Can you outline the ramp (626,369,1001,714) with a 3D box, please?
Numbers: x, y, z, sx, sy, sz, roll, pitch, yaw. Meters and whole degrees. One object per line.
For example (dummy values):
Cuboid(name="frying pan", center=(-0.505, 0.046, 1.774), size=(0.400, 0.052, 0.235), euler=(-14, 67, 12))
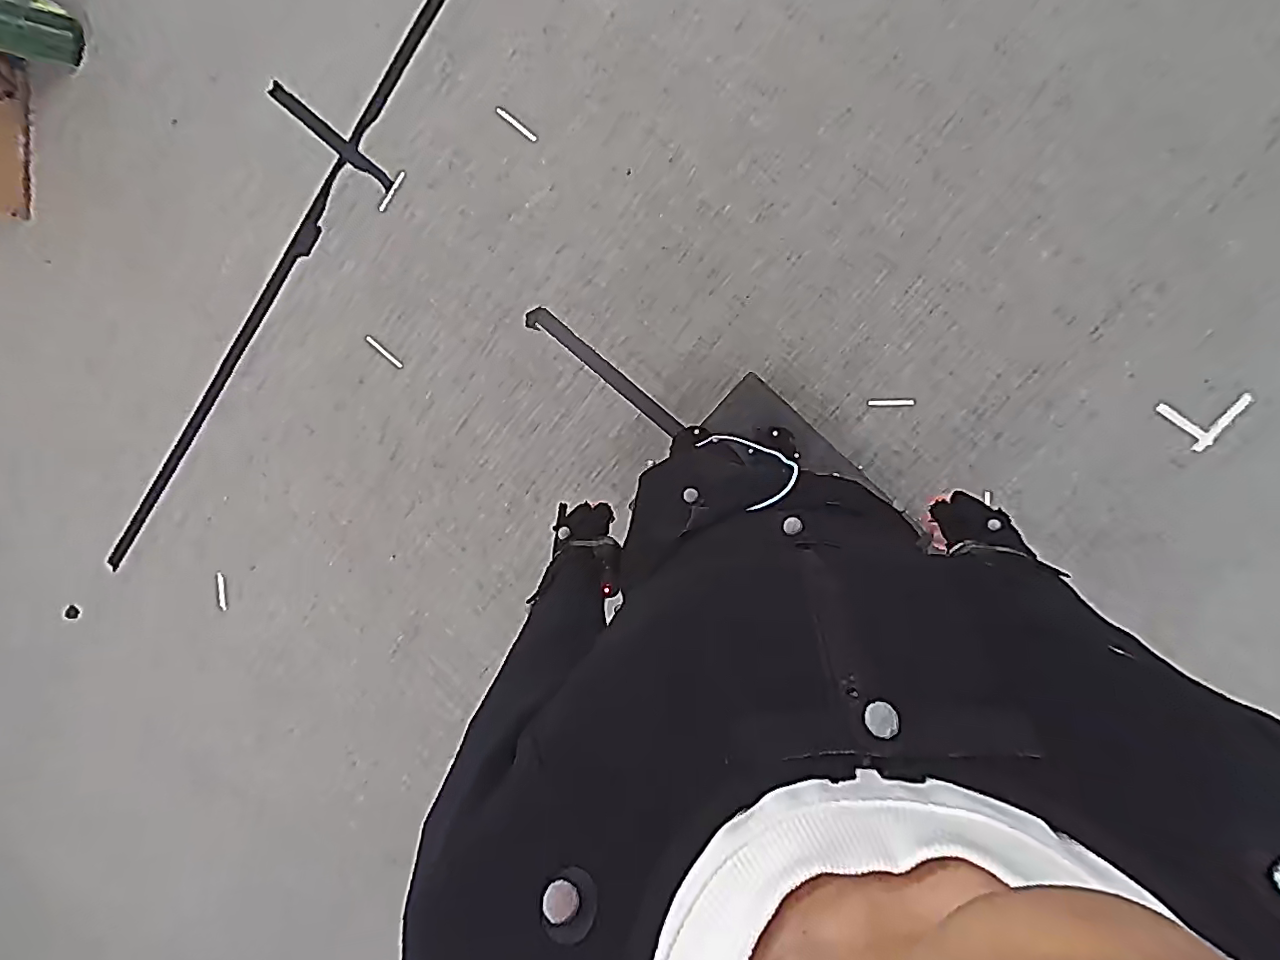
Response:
Cuboid(name="ramp", center=(0.488, 0.202, 1.495), size=(0.991, 0.206, 0.509), euler=(41, 100, 3))
